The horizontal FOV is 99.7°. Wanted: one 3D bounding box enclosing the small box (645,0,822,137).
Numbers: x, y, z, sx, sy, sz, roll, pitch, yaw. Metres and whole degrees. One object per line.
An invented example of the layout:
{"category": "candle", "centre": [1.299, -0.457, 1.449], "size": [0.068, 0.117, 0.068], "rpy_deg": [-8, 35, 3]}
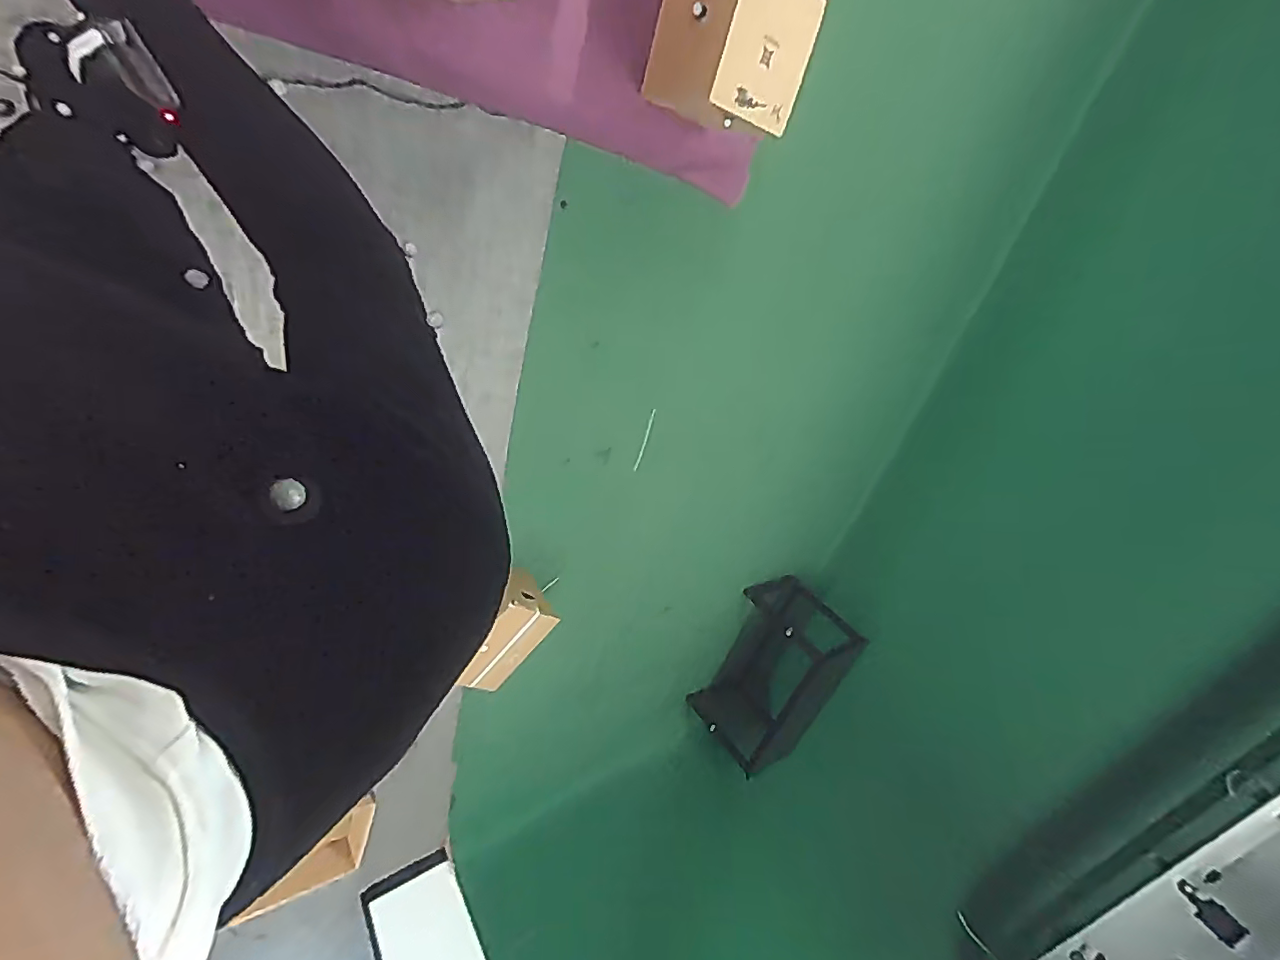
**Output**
{"category": "small box", "centre": [0.130, -0.643, 0.809], "size": [0.168, 0.176, 0.179], "rpy_deg": [-5, 123, -39]}
